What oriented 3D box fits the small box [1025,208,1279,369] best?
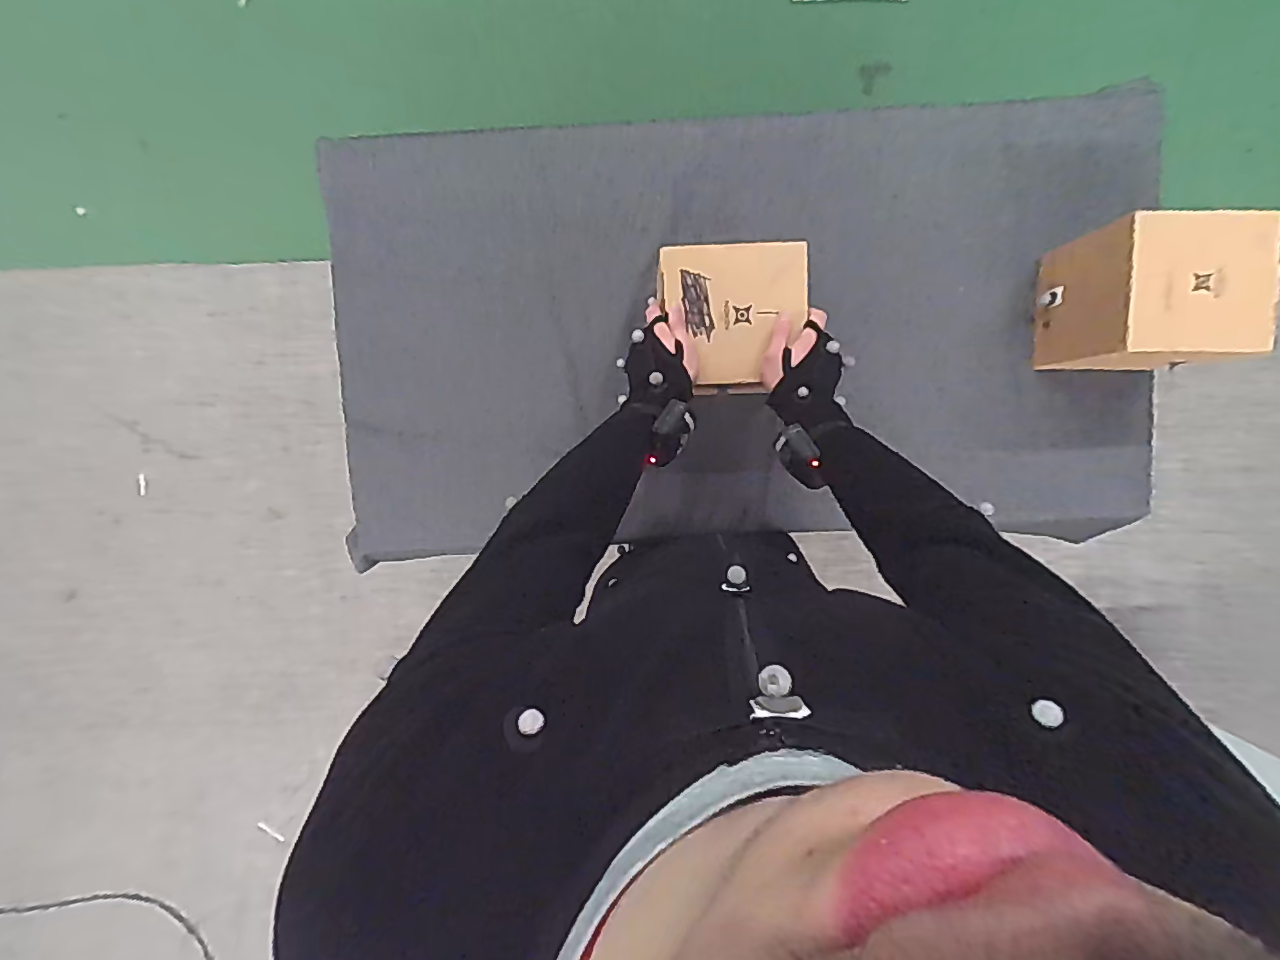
[{"bbox_3d":[0.659,-0.241,0.714,0.179,0.176,0.168,0,95,1],"label":"small box"}]

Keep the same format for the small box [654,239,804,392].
[{"bbox_3d":[0.108,-0.207,0.719,0.179,0.176,0.168,-2,96,-1],"label":"small box"}]
